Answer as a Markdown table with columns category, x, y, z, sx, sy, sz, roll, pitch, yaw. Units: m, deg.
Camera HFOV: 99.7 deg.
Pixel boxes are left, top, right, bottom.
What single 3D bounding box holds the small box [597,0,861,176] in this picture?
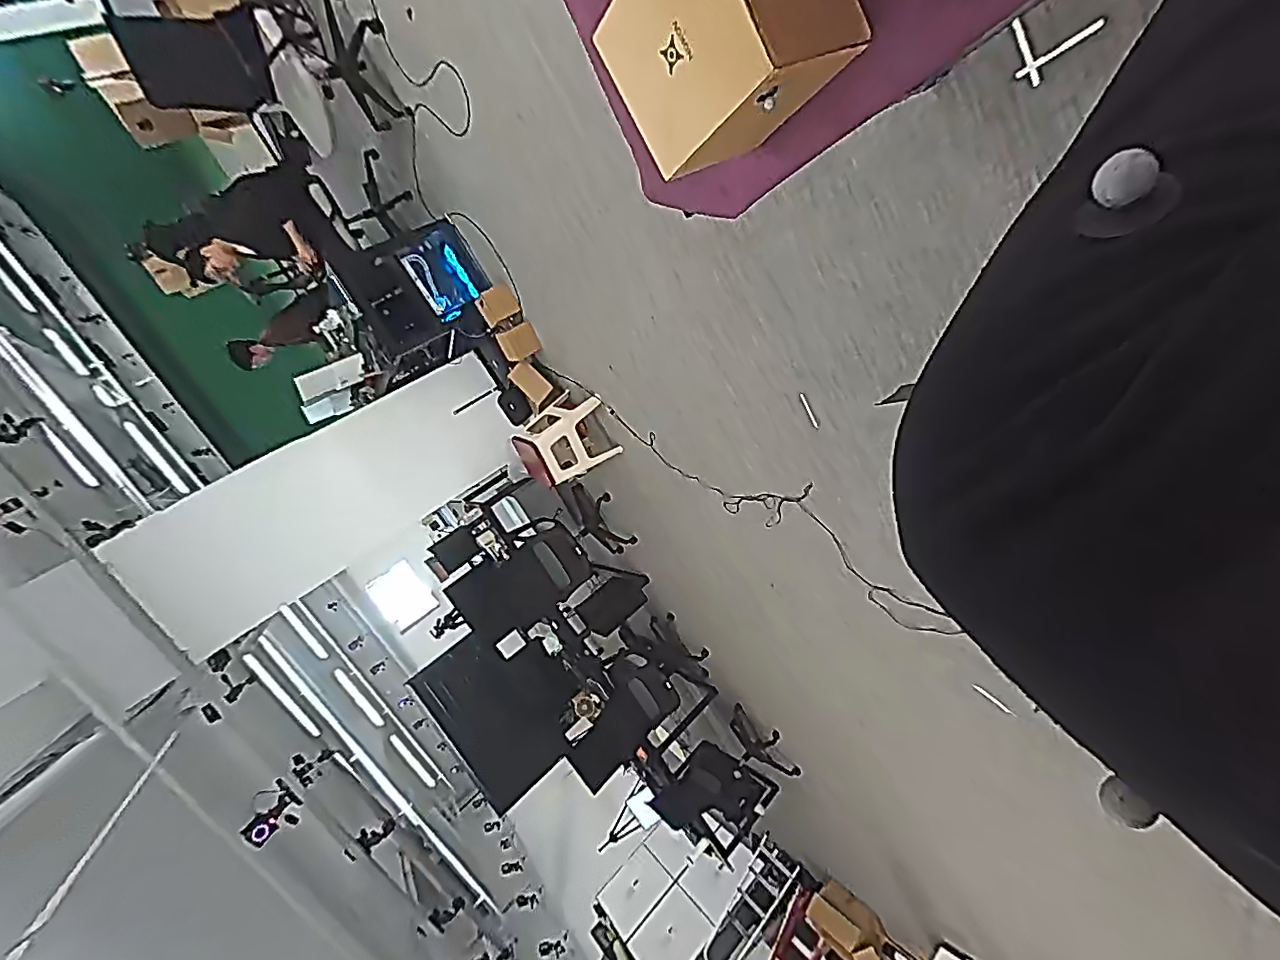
| category | x | y | z | sx | sy | sz | roll | pitch | yaw |
| --- | --- | --- | --- | --- | --- | --- | --- | --- | --- |
| small box | 0.091 | -0.464 | 0.568 | 0.168 | 0.176 | 0.179 | 59 | 151 | -11 |
